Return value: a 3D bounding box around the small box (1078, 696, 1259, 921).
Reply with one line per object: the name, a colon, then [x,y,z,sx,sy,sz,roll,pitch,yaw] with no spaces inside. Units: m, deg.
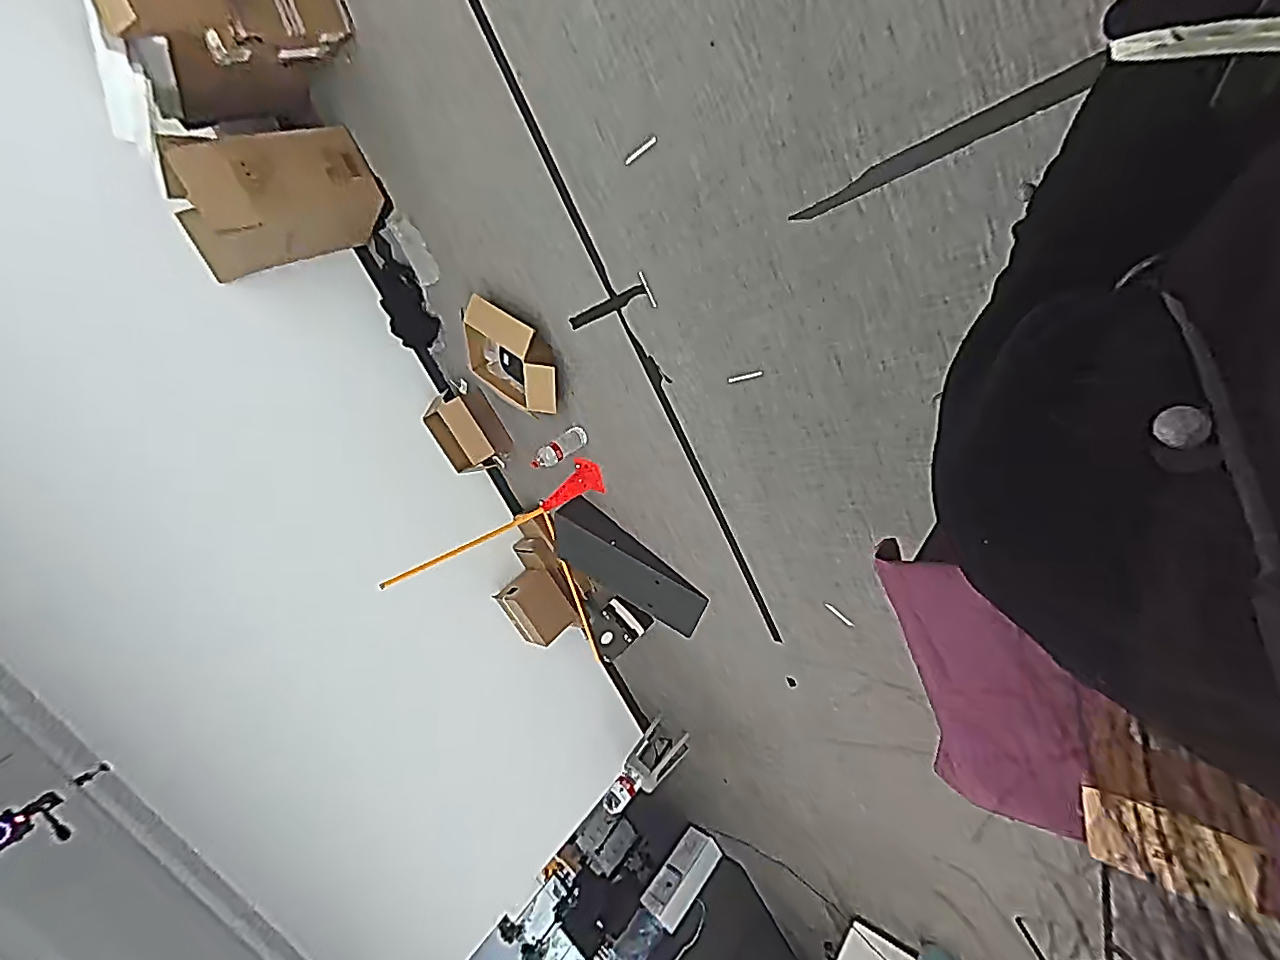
small box: [0.741,0.446,0.761,0.168,0.176,0.179,3,124,48]
